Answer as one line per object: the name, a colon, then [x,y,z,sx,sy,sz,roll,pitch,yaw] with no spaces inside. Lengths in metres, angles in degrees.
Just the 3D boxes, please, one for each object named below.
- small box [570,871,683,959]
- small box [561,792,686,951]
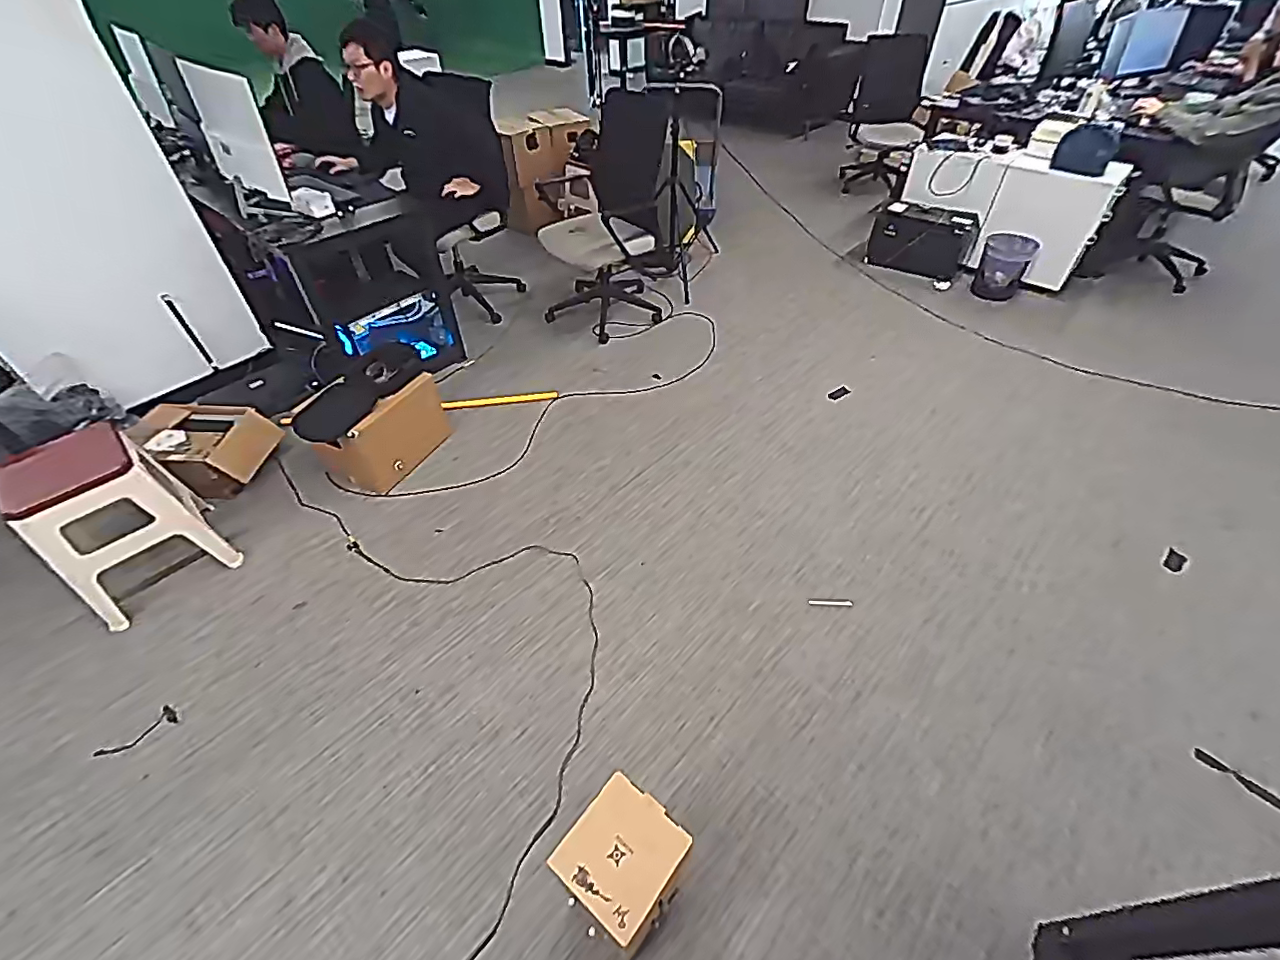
small box: [-0.028,0.873,1.149,0.168,0.176,0.179,30,53,27]
small box: [-0.027,0.754,1.039,0.168,0.176,0.179,28,50,24]
